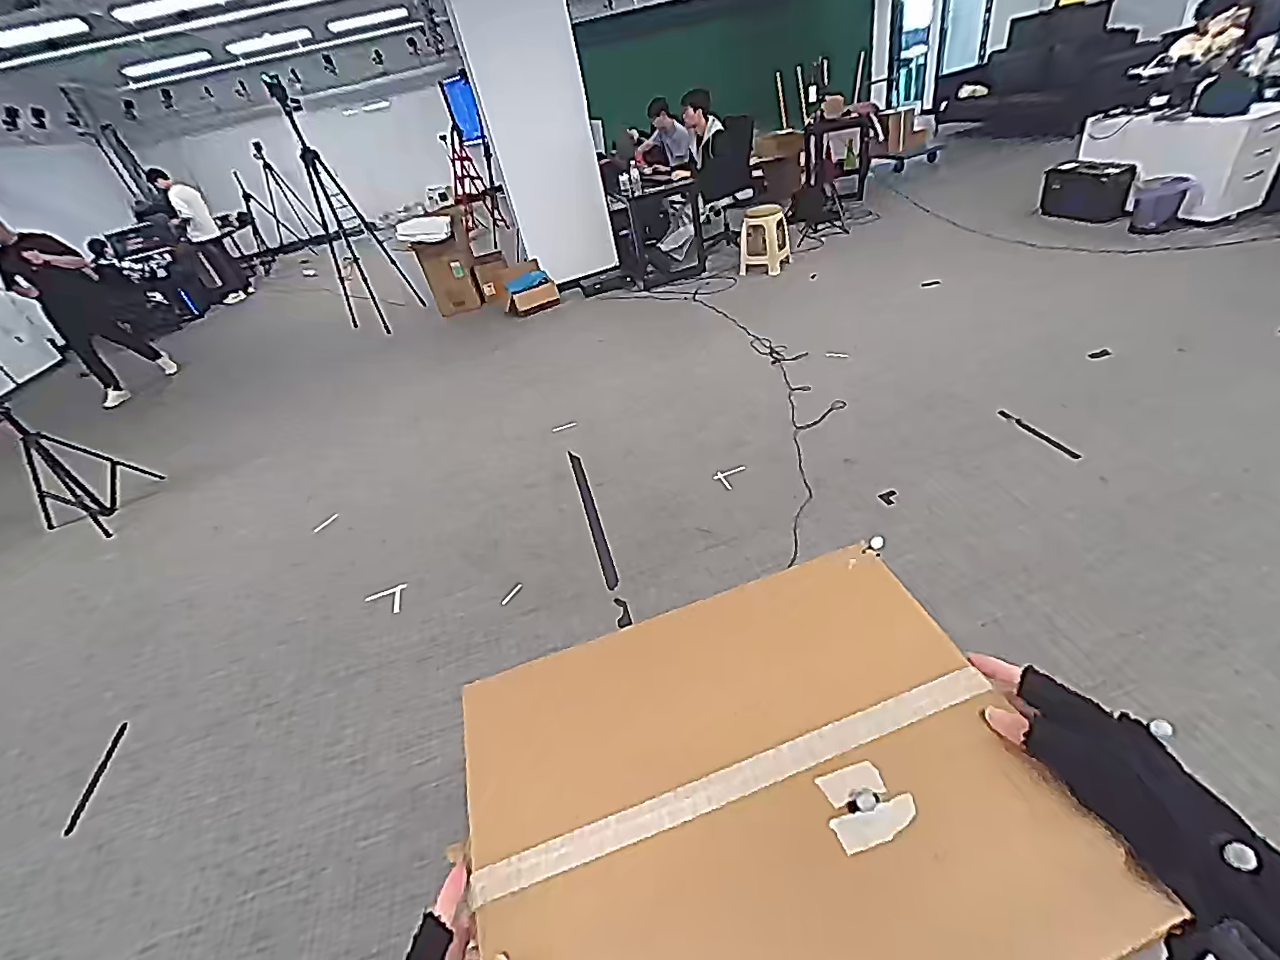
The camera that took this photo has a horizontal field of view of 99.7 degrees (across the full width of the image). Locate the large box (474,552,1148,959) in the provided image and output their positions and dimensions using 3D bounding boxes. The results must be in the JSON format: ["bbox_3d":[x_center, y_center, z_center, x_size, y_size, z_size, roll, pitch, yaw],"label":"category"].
[{"bbox_3d":[0.101,0.335,0.507,0.408,0.320,0.320,-18,43,-8],"label":"large box"}]
